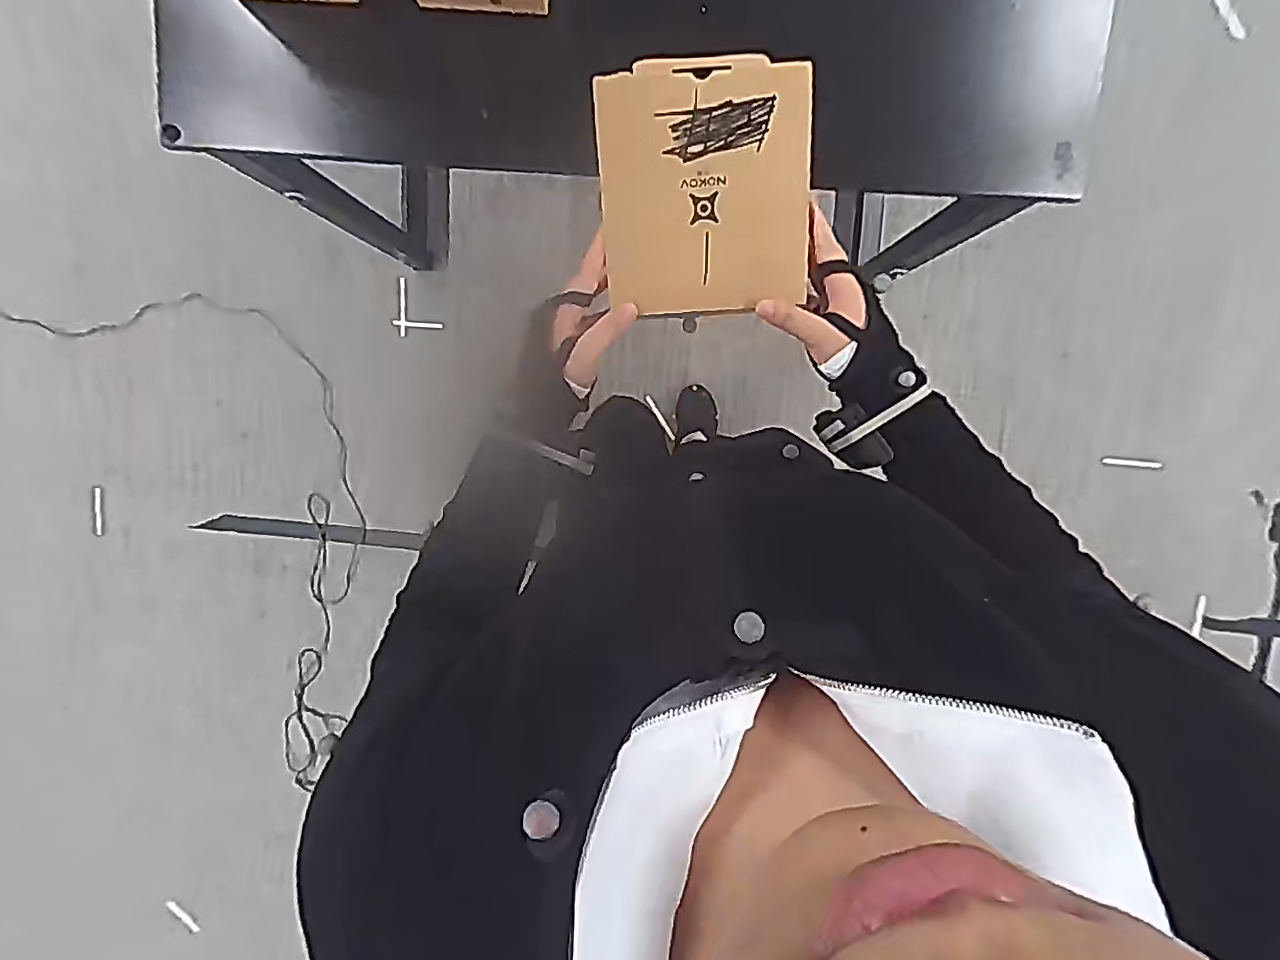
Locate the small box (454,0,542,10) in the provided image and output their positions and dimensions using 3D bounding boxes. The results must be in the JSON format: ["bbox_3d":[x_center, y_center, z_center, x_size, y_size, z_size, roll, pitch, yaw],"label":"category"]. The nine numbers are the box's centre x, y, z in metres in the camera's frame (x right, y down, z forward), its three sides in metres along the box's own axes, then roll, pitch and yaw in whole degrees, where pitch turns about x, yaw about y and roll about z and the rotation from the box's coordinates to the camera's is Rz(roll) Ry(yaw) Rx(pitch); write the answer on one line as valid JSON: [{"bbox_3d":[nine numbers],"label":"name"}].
[{"bbox_3d":[-0.195,-0.666,0.590,0.168,0.176,0.179,4,98,0],"label":"small box"}]

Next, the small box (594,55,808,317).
[{"bbox_3d":[0.049,-0.250,0.502,0.168,0.176,0.179,-3,106,1],"label":"small box"}]
